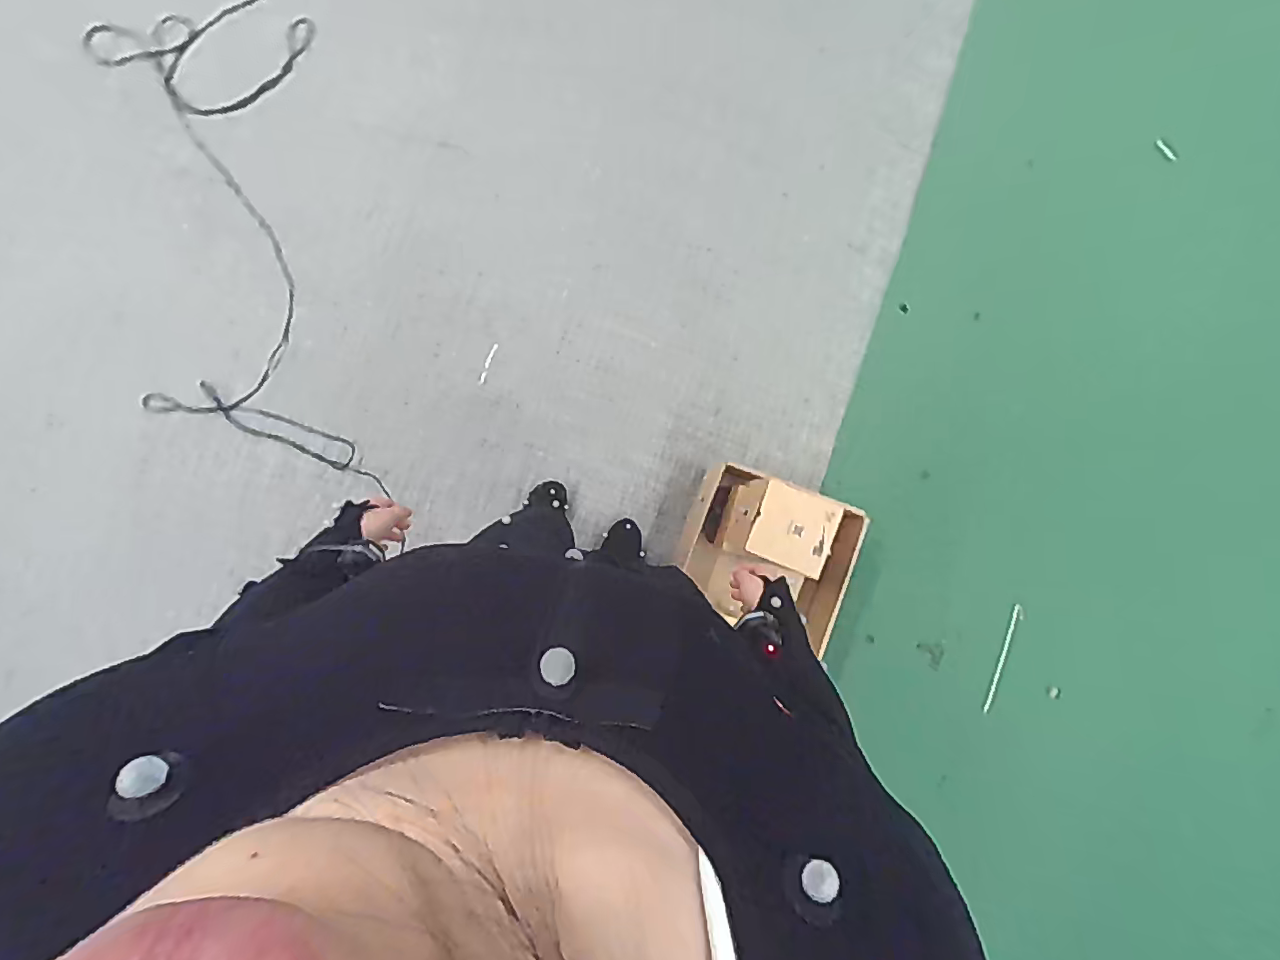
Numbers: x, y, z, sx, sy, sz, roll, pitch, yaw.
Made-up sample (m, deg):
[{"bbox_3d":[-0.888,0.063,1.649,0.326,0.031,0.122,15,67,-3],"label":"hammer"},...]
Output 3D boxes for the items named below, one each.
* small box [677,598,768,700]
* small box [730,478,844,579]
[{"bbox_3d":[0.200,0.418,1.365,0.168,0.176,0.179,21,86,-1],"label":"small box"},{"bbox_3d":[0.320,0.107,1.218,0.179,0.176,0.168,22,87,-1],"label":"small box"}]
